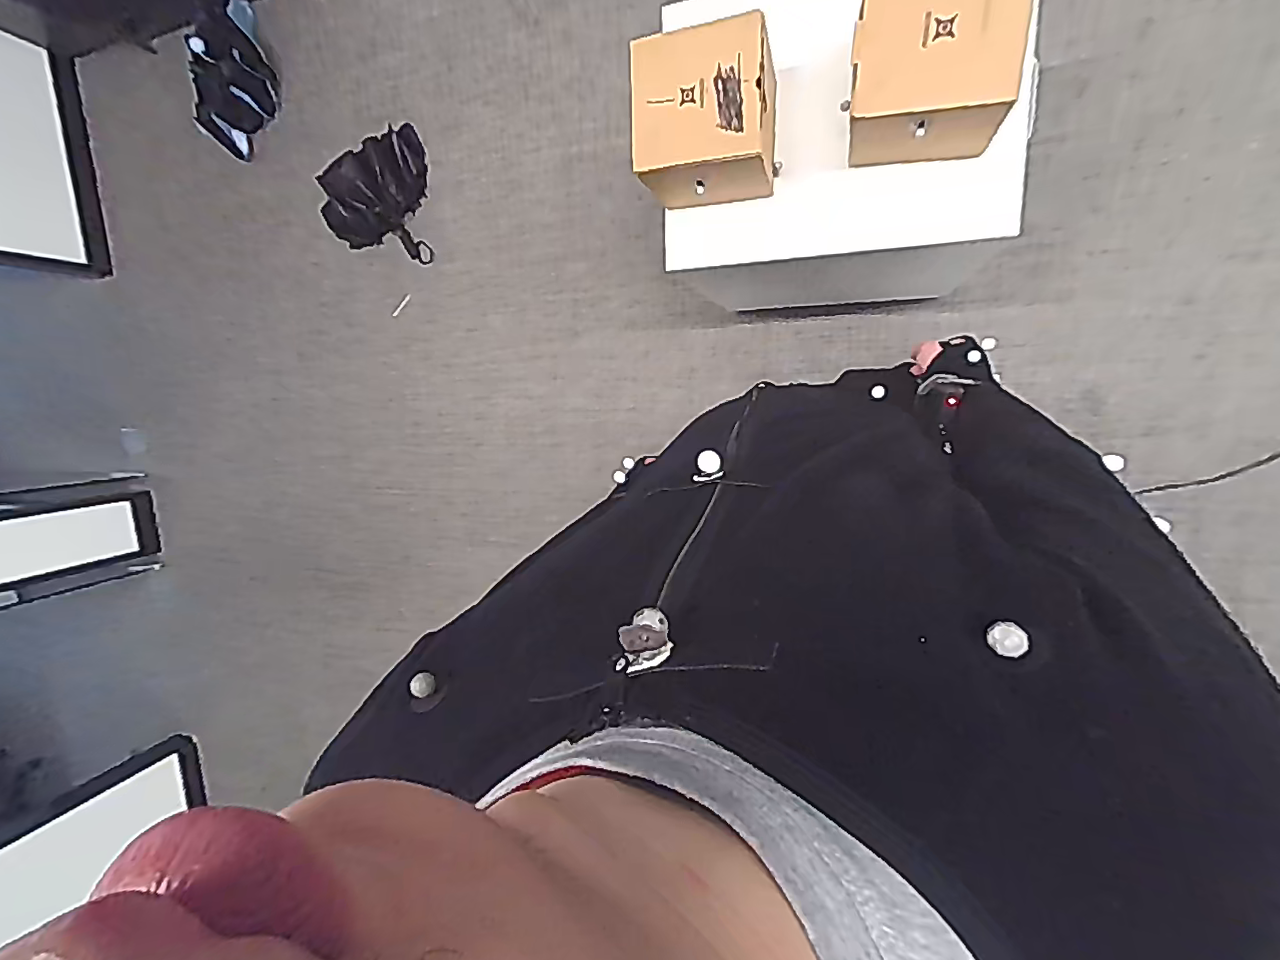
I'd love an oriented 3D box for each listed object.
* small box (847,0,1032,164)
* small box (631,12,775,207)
[{"bbox_3d":[0.362,-0.517,0.679,0.179,0.176,0.168,6,103,19],"label":"small box"},{"bbox_3d":[0.096,-0.510,0.775,0.179,0.176,0.168,3,100,20],"label":"small box"}]
